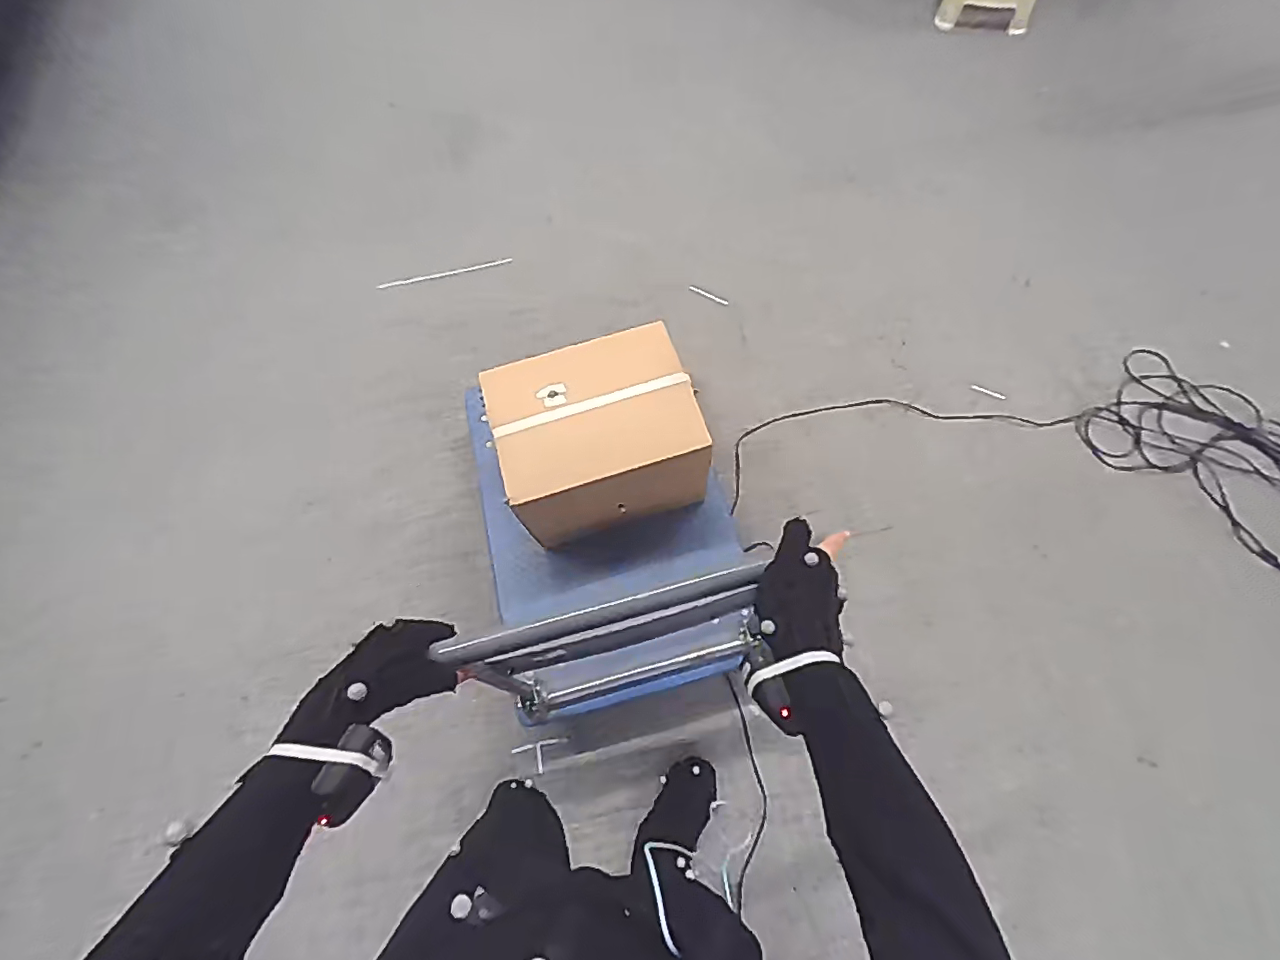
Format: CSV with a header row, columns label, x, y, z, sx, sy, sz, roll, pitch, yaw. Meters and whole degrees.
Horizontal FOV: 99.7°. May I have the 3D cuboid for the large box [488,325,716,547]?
label,x,y,z,sx,sy,sz,roll,pitch,yaw
large box,-0.075,-0.084,1.223,0.408,0.320,0.320,-18,67,-4
